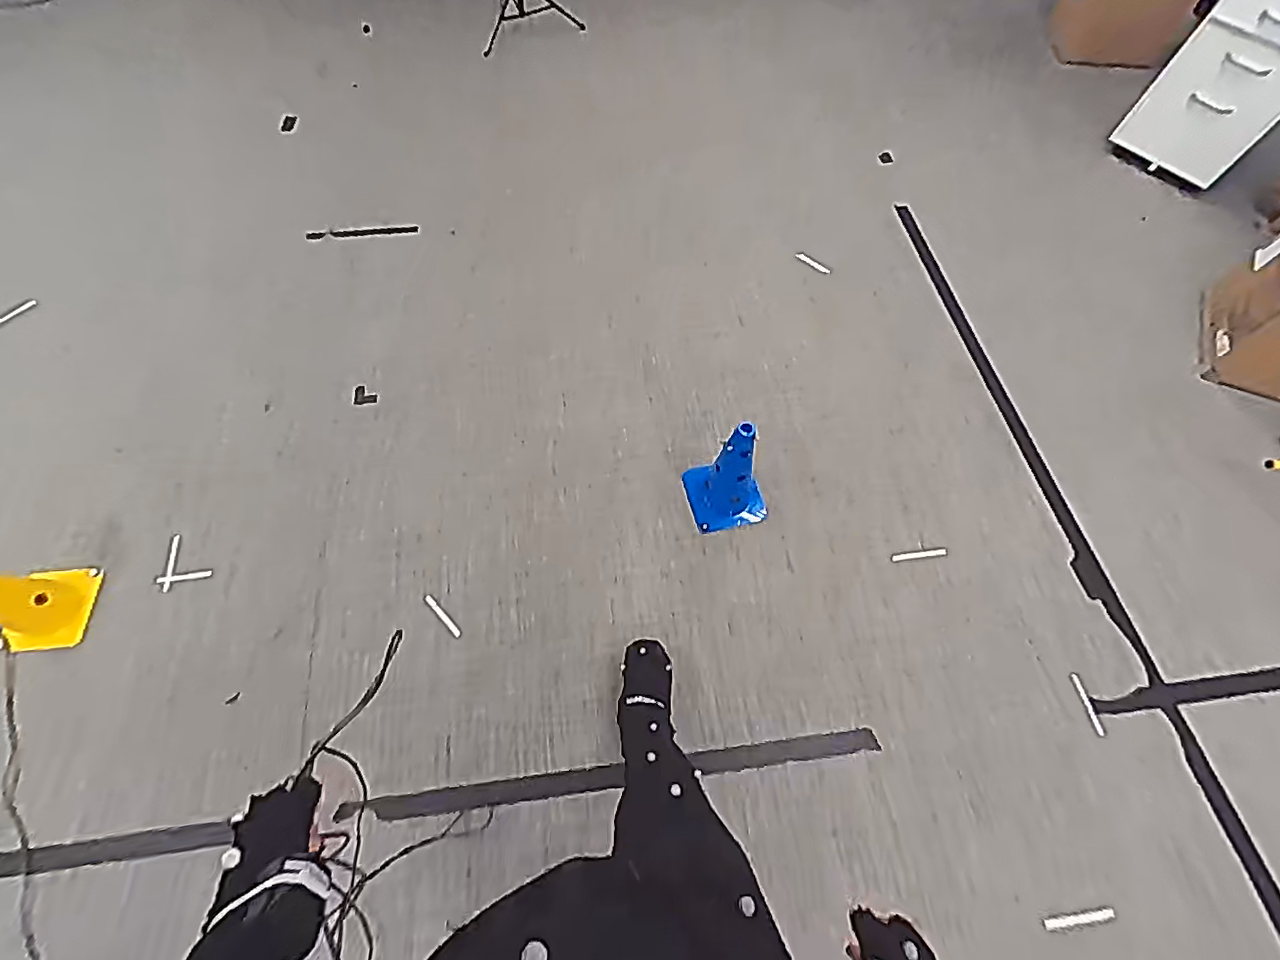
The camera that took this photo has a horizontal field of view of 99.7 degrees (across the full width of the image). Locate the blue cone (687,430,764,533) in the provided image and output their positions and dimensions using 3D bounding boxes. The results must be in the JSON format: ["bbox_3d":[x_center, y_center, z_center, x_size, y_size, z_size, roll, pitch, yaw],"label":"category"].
[{"bbox_3d":[0.237,-0.025,1.361,0.193,0.380,0.192,-12,65,-6],"label":"blue cone"}]
